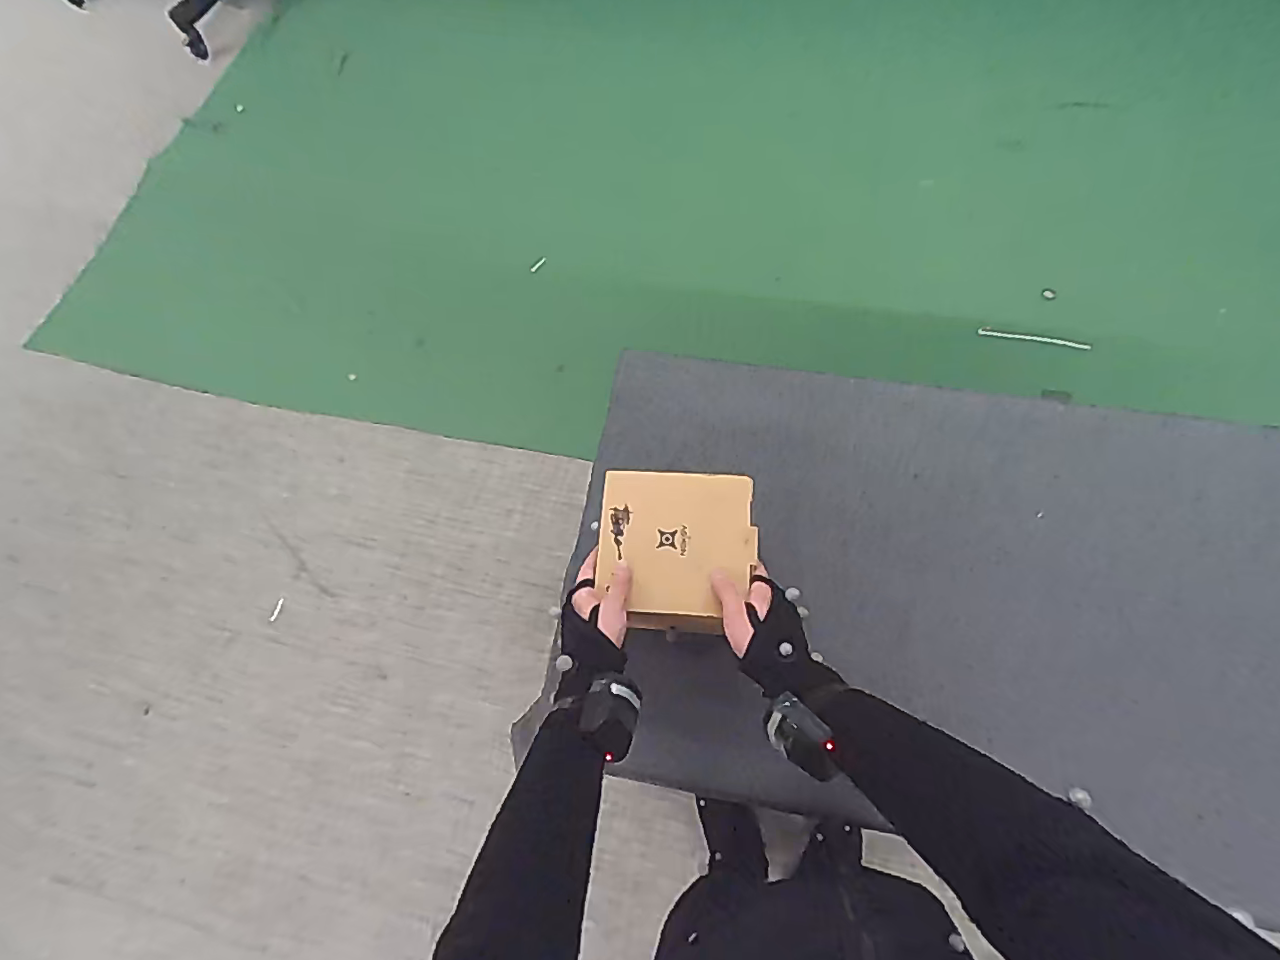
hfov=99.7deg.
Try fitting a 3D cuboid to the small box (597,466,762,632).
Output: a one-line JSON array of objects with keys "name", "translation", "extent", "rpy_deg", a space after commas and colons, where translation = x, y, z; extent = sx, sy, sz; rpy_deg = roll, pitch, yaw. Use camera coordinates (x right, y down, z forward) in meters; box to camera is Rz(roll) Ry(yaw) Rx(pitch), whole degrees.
[{"name": "small box", "translation": [0.049, 0.094, 0.675], "extent": [0.179, 0.176, 0.168], "rpy_deg": [4, 69, 4]}]
